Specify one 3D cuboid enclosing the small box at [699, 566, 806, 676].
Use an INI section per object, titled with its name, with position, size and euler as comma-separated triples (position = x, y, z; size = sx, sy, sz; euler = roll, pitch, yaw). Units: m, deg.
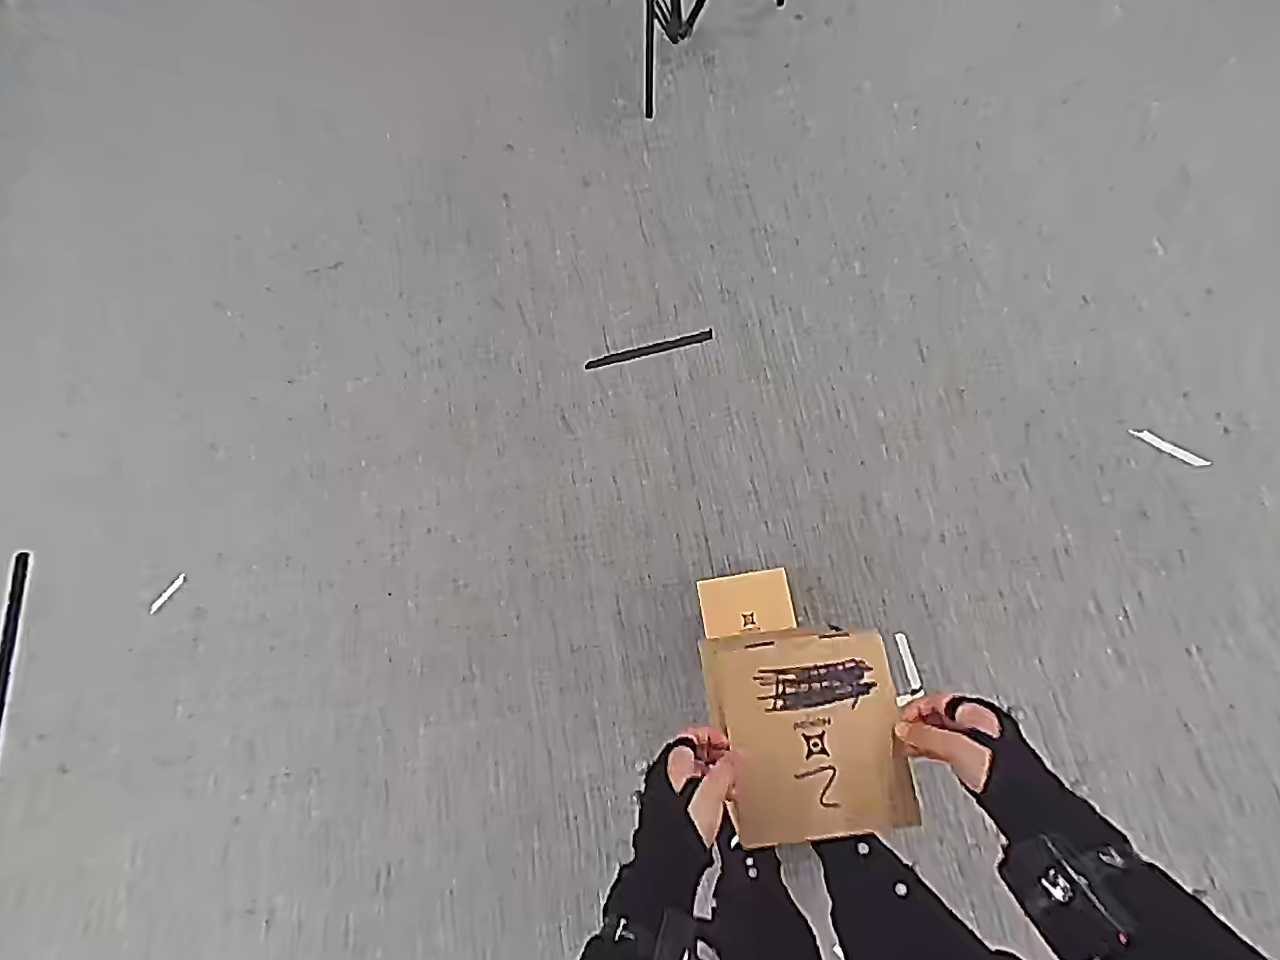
[small box]
position = 0.209, 0.274, 1.045
size = 0.168, 0.176, 0.179
euler = -11, 74, 6
